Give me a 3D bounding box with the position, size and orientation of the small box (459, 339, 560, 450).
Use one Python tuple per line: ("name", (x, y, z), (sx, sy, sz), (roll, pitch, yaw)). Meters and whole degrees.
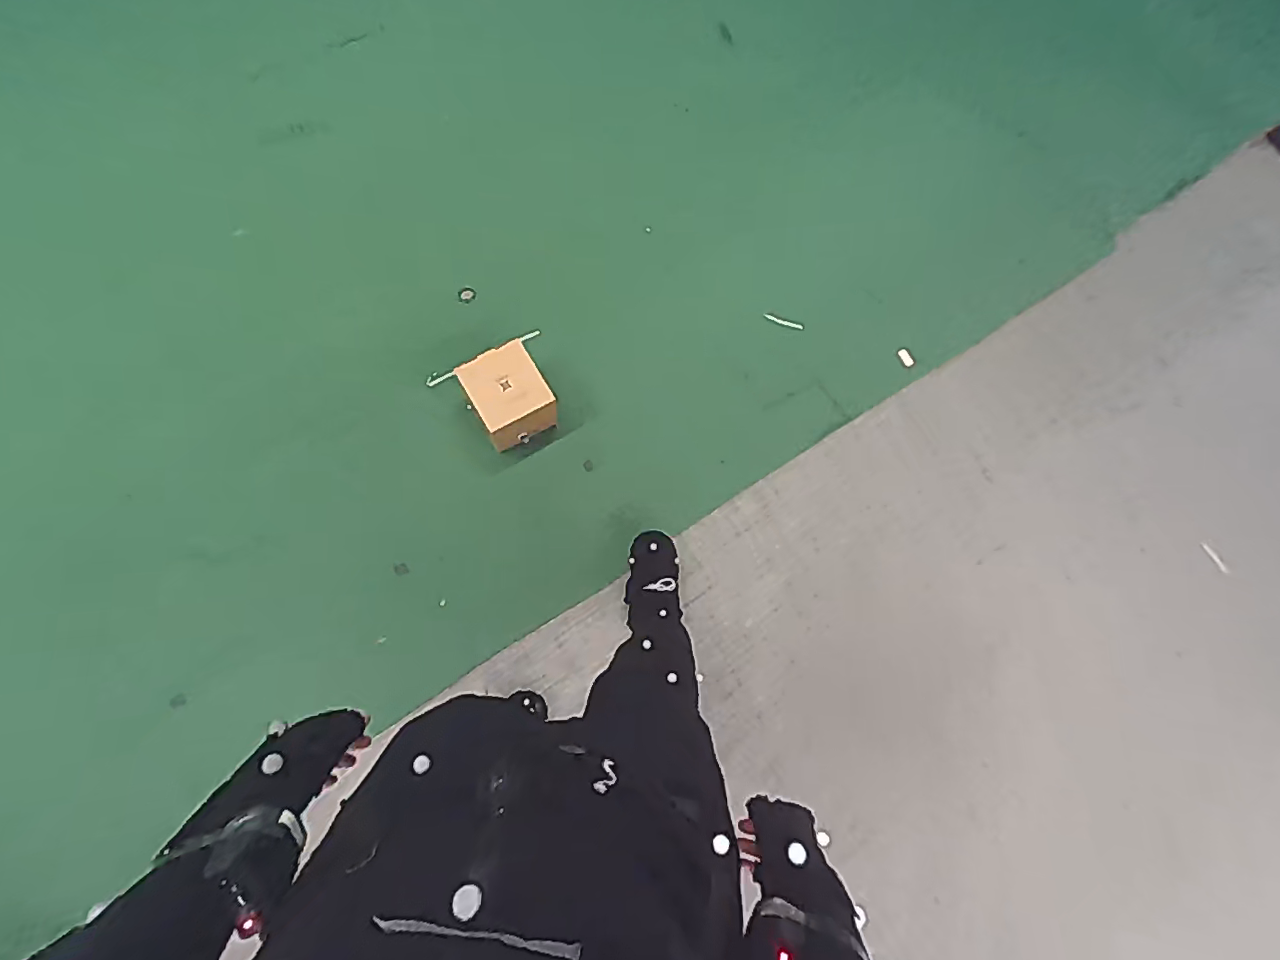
("small box", (-0.306, -0.198, 1.296), (0.168, 0.176, 0.179), (-31, 83, -13))
